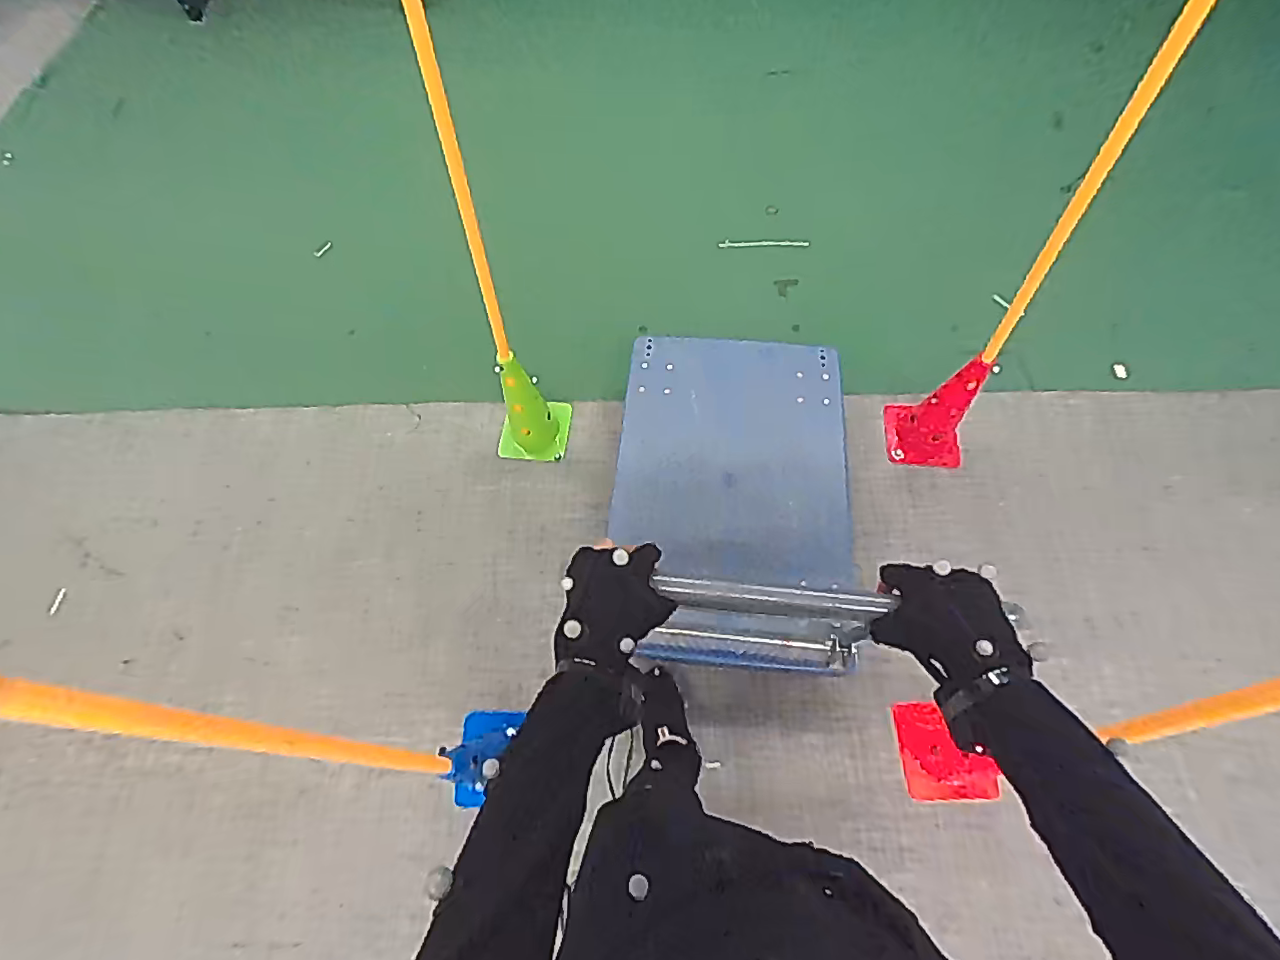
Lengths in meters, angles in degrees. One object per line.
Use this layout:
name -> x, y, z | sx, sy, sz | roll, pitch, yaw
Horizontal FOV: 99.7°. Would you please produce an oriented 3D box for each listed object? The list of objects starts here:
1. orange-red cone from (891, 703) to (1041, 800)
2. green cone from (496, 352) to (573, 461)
orange-red cone -> 0.676, 0.541, 1.080 | 0.199, 0.360, 0.198 | -2, 64, 4
green cone -> -0.319, -0.224, 1.487 | 0.202, 0.368, 0.200 | 3, 64, 5
